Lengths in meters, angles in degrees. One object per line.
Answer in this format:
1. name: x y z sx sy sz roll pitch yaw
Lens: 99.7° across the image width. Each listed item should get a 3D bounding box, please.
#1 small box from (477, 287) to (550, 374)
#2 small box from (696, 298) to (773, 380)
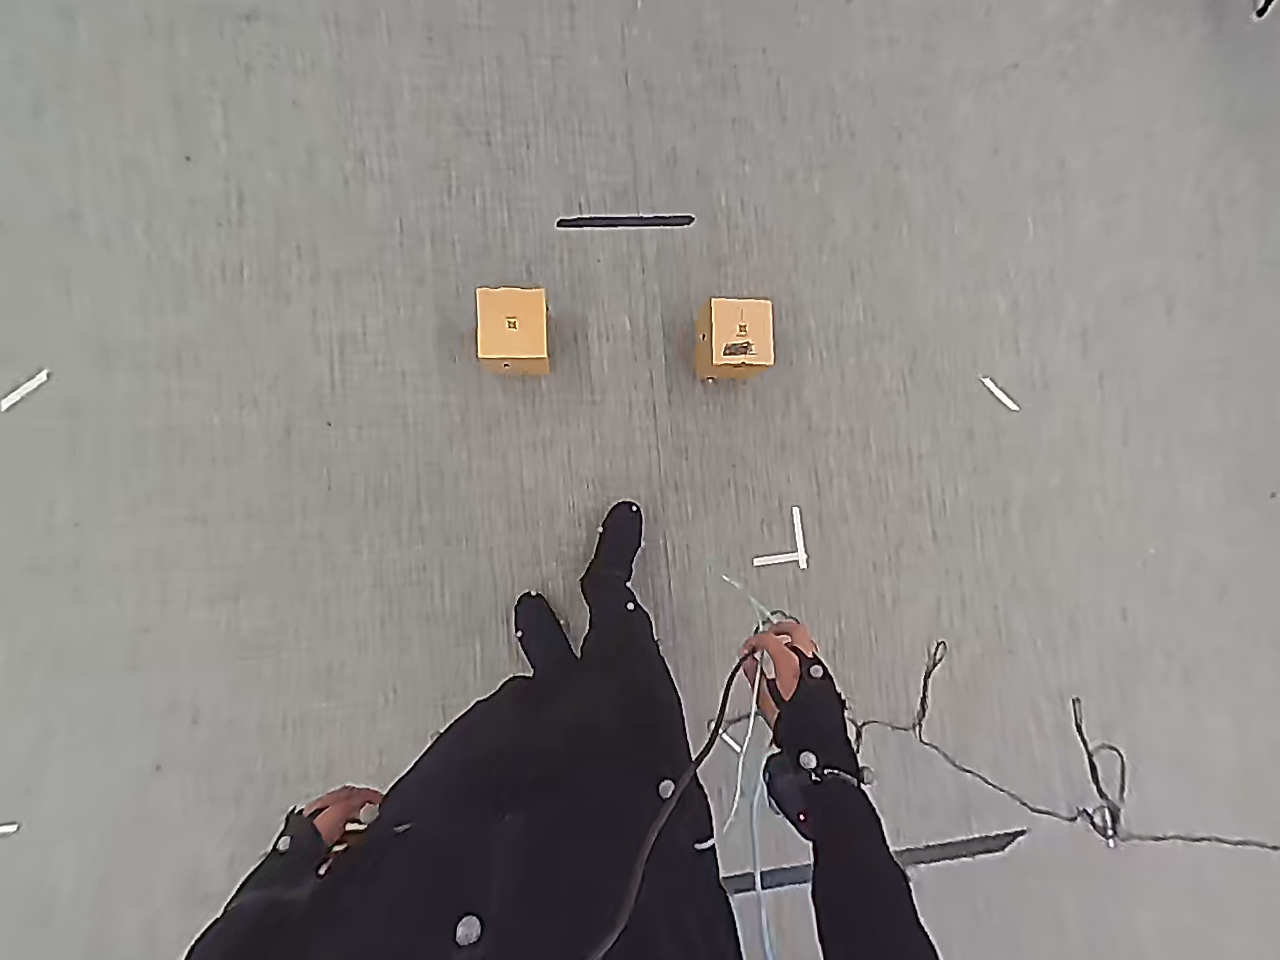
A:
1. small box: -0.318 -0.375 1.384 0.168 0.176 0.179 -2 86 -7
2. small box: 0.250 -0.374 1.461 0.168 0.176 0.179 0 86 -9
